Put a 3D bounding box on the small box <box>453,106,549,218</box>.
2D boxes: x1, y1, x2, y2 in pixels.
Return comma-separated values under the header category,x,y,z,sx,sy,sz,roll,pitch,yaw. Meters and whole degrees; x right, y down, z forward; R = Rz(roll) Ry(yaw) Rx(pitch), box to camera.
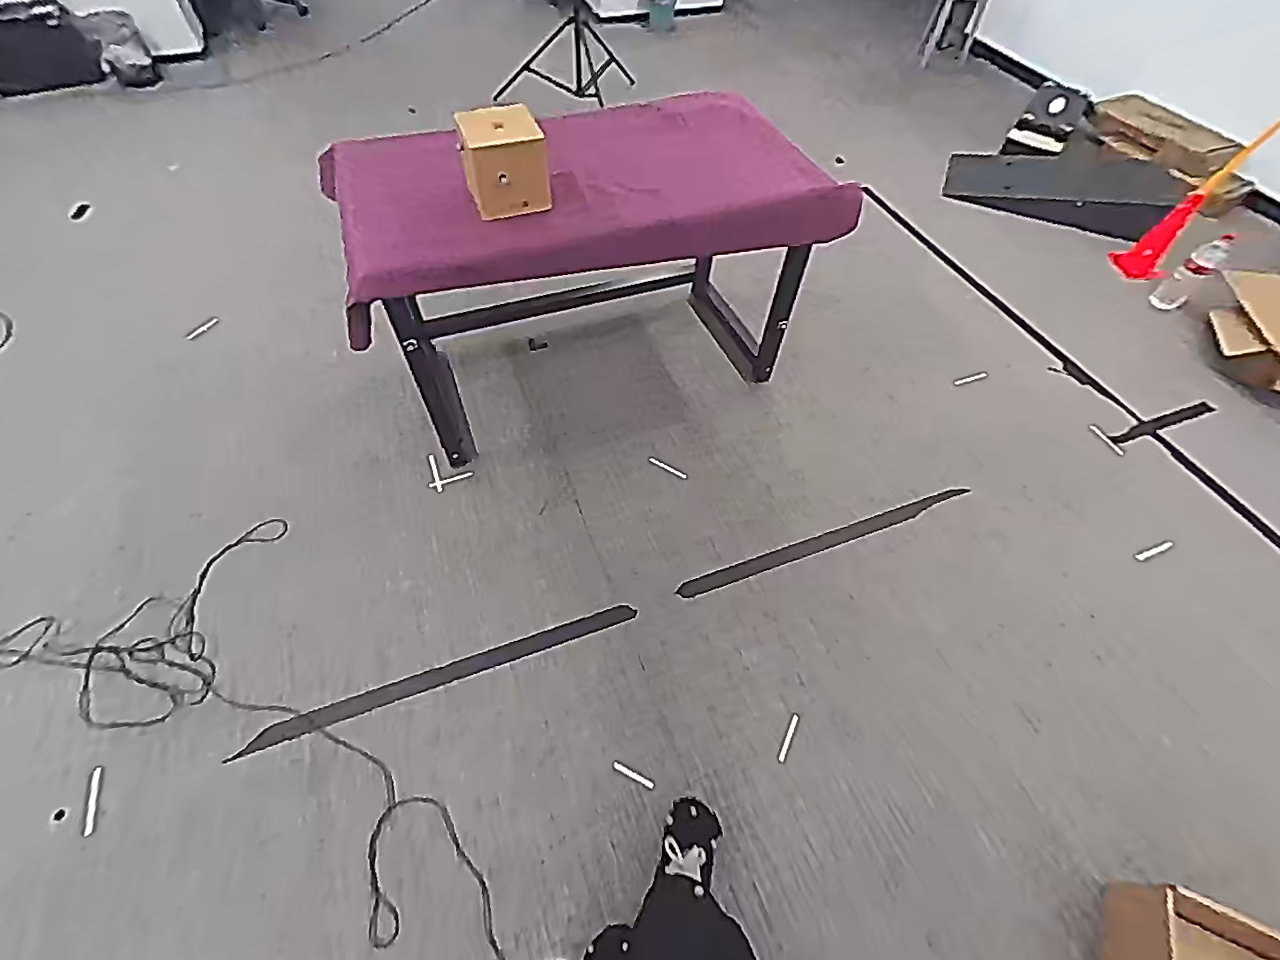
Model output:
category,x,y,z,sx,sy,sz,roll,pitch,yaw
small box,-0.320,-0.738,1.268,0.168,0.176,0.179,-18,58,-14
